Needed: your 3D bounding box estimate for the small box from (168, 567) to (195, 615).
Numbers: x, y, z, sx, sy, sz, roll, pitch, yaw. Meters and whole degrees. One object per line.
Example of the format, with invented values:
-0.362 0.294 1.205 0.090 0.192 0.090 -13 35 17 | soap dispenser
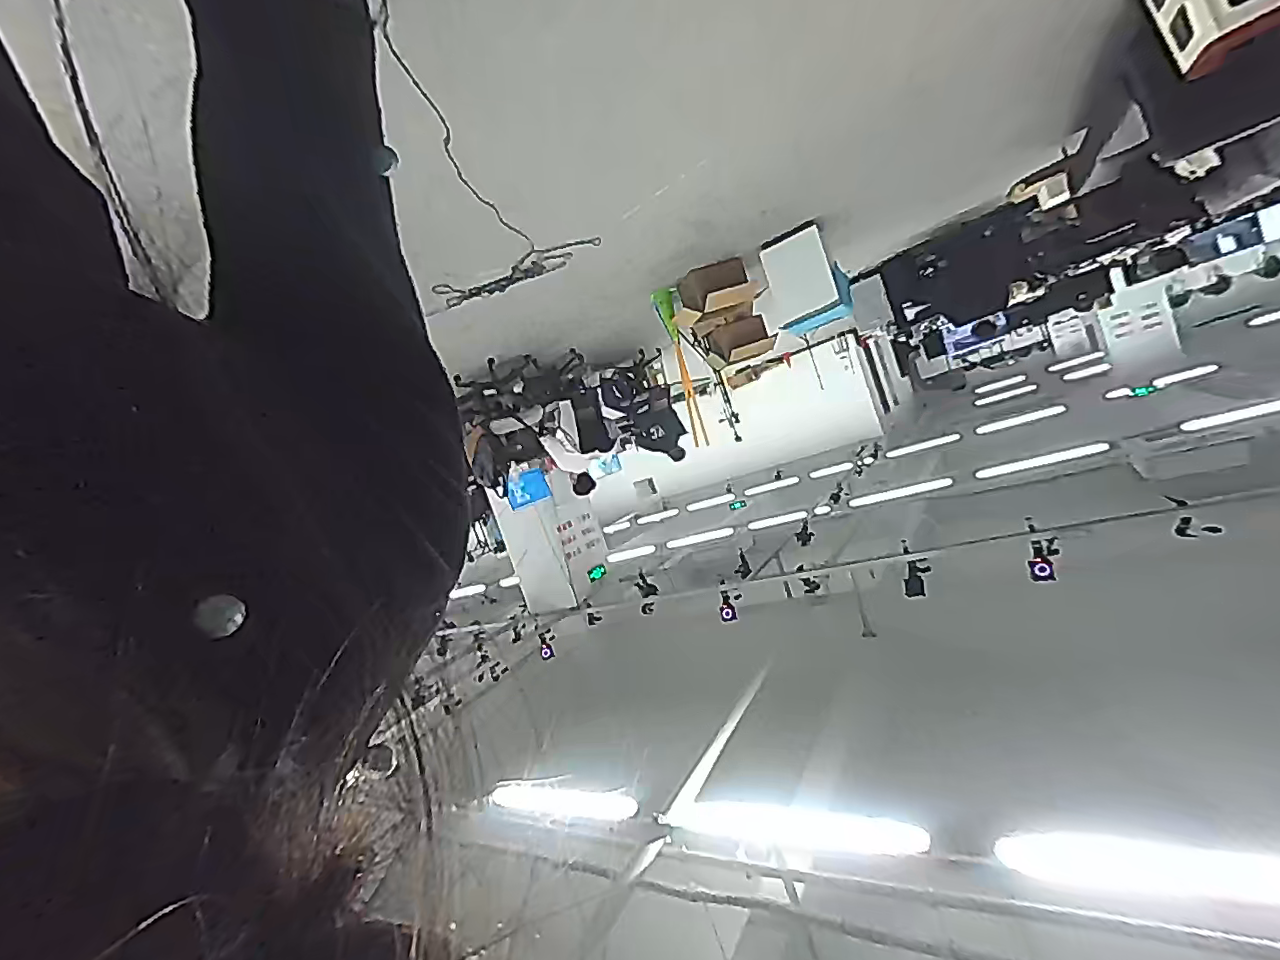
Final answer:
-1.573 0.394 1.716 0.168 0.176 0.179 -19 -176 34 | small box
